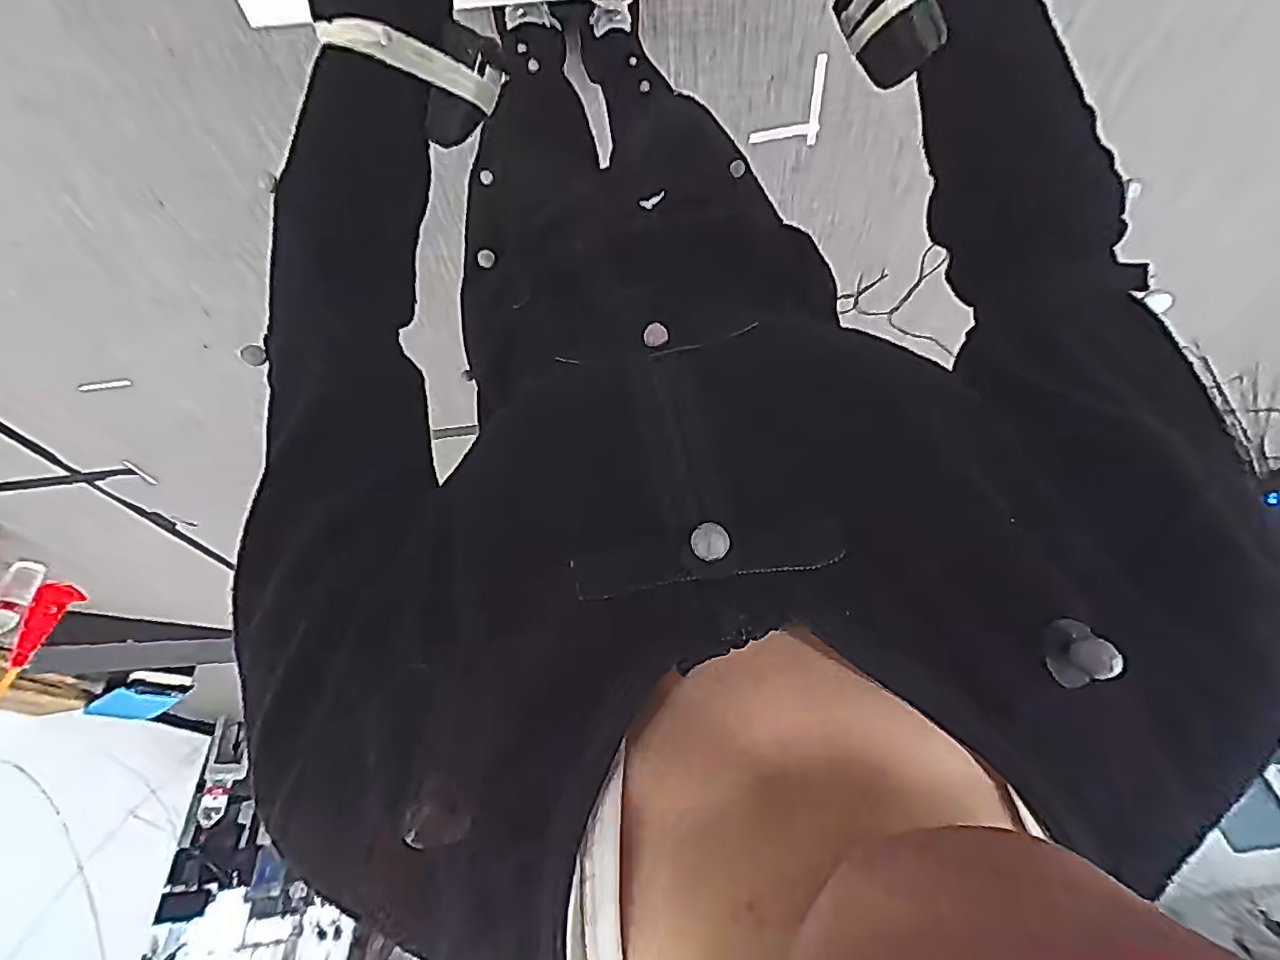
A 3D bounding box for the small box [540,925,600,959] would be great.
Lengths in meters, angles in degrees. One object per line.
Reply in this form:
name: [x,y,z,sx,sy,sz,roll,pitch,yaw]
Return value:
small box: [-0.213,1.505,1.676,0.168,0.176,0.179,-8,146,-2]
